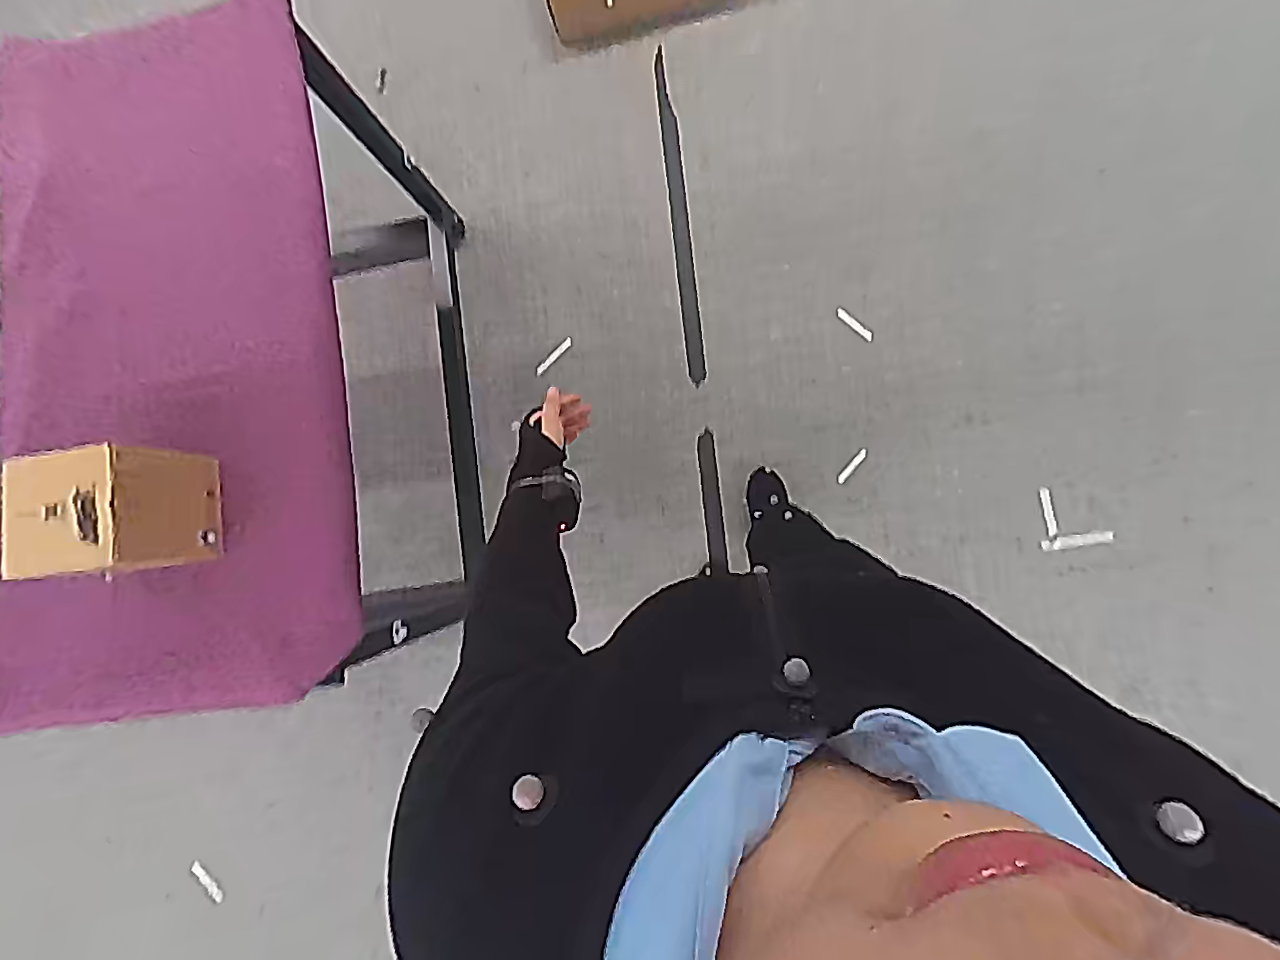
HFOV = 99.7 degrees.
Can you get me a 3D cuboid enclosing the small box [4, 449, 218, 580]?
[{"bbox_3d":[-0.776,0.053,0.811,0.179,0.176,0.168,-8,84,6],"label":"small box"}]
